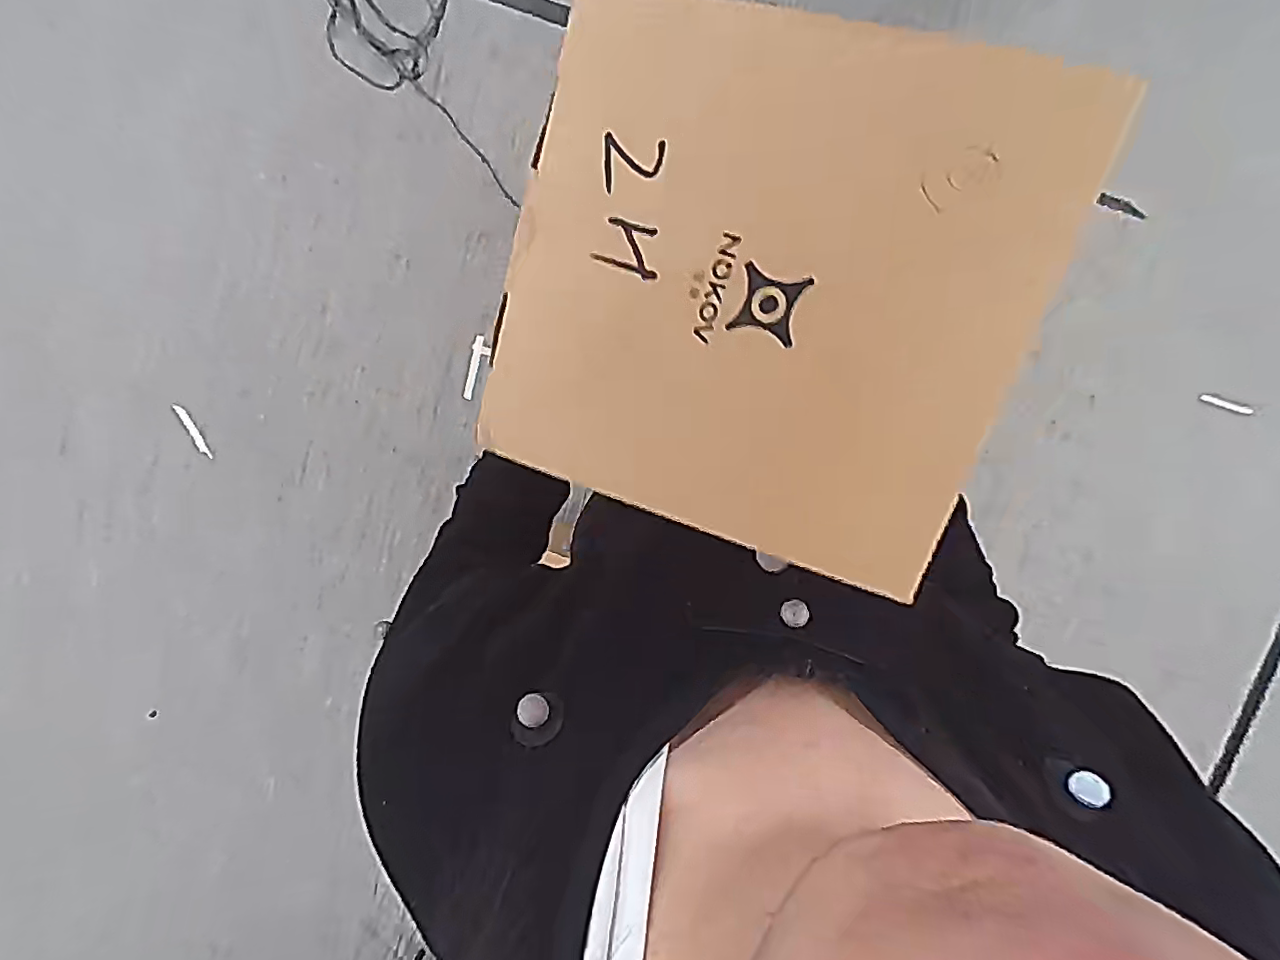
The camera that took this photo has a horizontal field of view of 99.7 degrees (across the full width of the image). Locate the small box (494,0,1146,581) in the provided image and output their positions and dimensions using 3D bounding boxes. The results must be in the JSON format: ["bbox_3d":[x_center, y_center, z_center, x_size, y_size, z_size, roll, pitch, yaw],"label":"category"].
[{"bbox_3d":[0.063,-0.079,0.264,0.179,0.176,0.168,20,103,11],"label":"small box"}]
